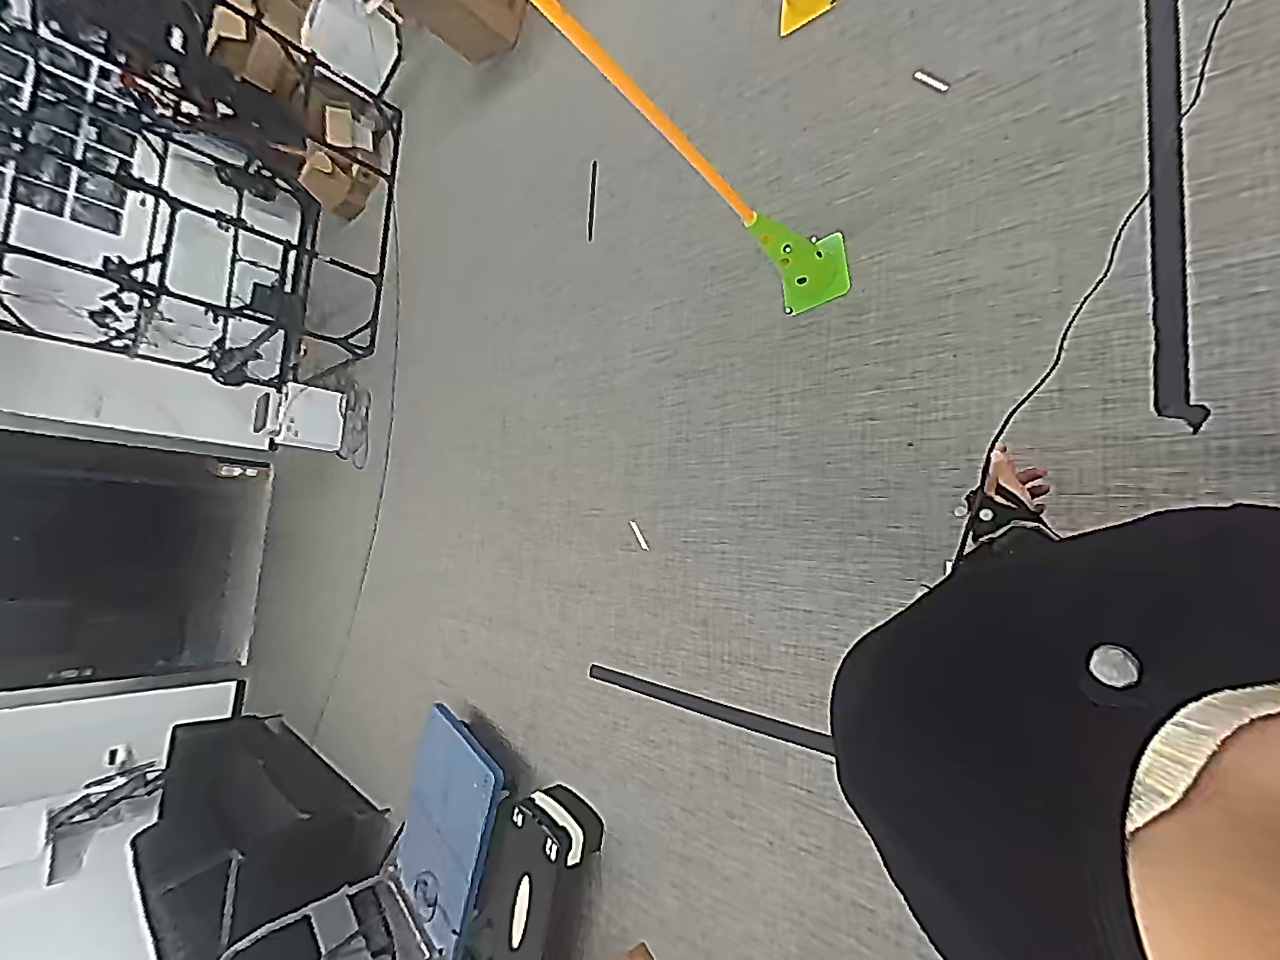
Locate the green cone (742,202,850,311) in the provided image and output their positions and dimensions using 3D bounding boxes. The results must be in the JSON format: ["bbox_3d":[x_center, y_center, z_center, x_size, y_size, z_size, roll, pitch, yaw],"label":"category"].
[{"bbox_3d":[0.397,-0.645,1.475,0.200,0.368,0.202,-16,70,41],"label":"green cone"}]
